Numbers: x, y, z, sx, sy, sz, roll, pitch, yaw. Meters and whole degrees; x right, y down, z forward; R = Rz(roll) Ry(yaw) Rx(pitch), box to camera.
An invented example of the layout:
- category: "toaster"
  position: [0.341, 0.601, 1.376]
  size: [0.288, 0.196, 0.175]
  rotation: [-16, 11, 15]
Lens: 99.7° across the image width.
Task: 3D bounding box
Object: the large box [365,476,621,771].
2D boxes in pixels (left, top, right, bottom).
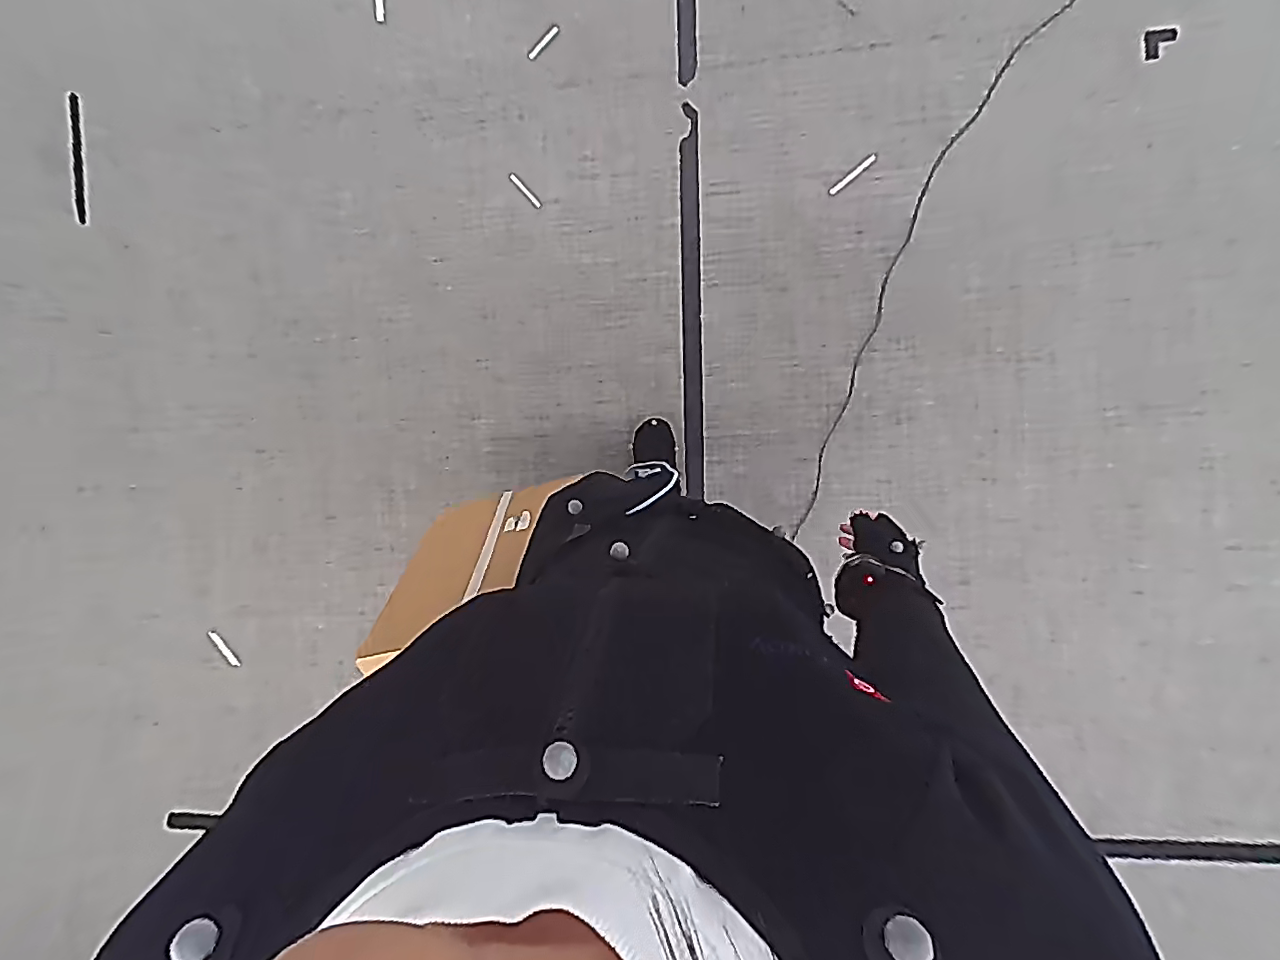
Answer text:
- category: "large box"
  position: [-0.222, 0.246, 1.010]
  size: [0.320, 0.408, 0.320]
  rotation: [-12, 118, 6]
